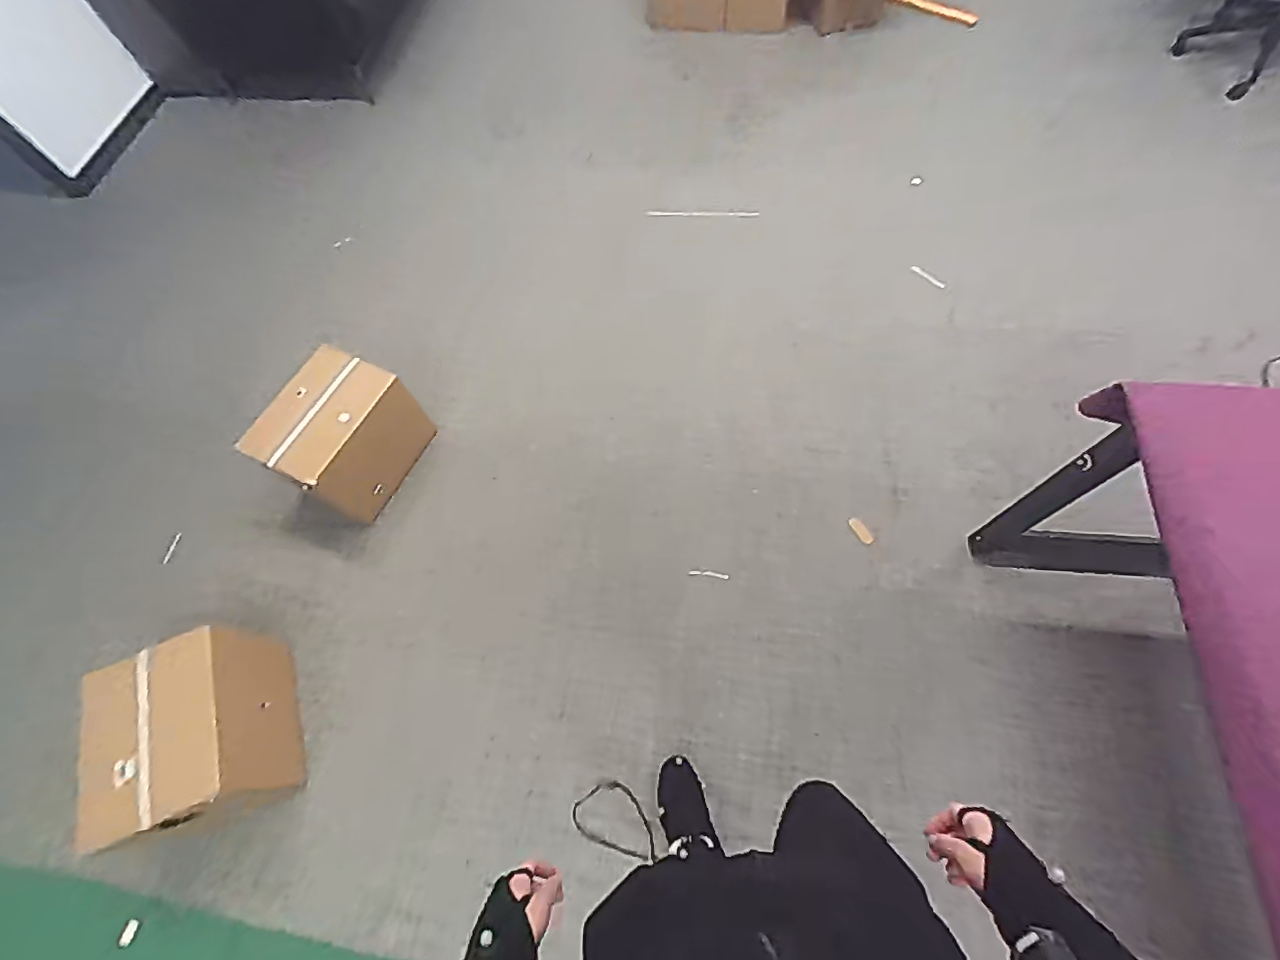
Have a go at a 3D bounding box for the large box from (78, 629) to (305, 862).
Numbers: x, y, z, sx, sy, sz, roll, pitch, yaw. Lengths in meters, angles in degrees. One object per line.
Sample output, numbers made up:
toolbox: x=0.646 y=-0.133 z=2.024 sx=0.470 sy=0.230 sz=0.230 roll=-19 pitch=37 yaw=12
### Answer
large box: x=-1.116 y=0.648 z=1.368 sx=0.320 sy=0.320 sz=0.408 roll=-24 pitch=65 yaw=-6
